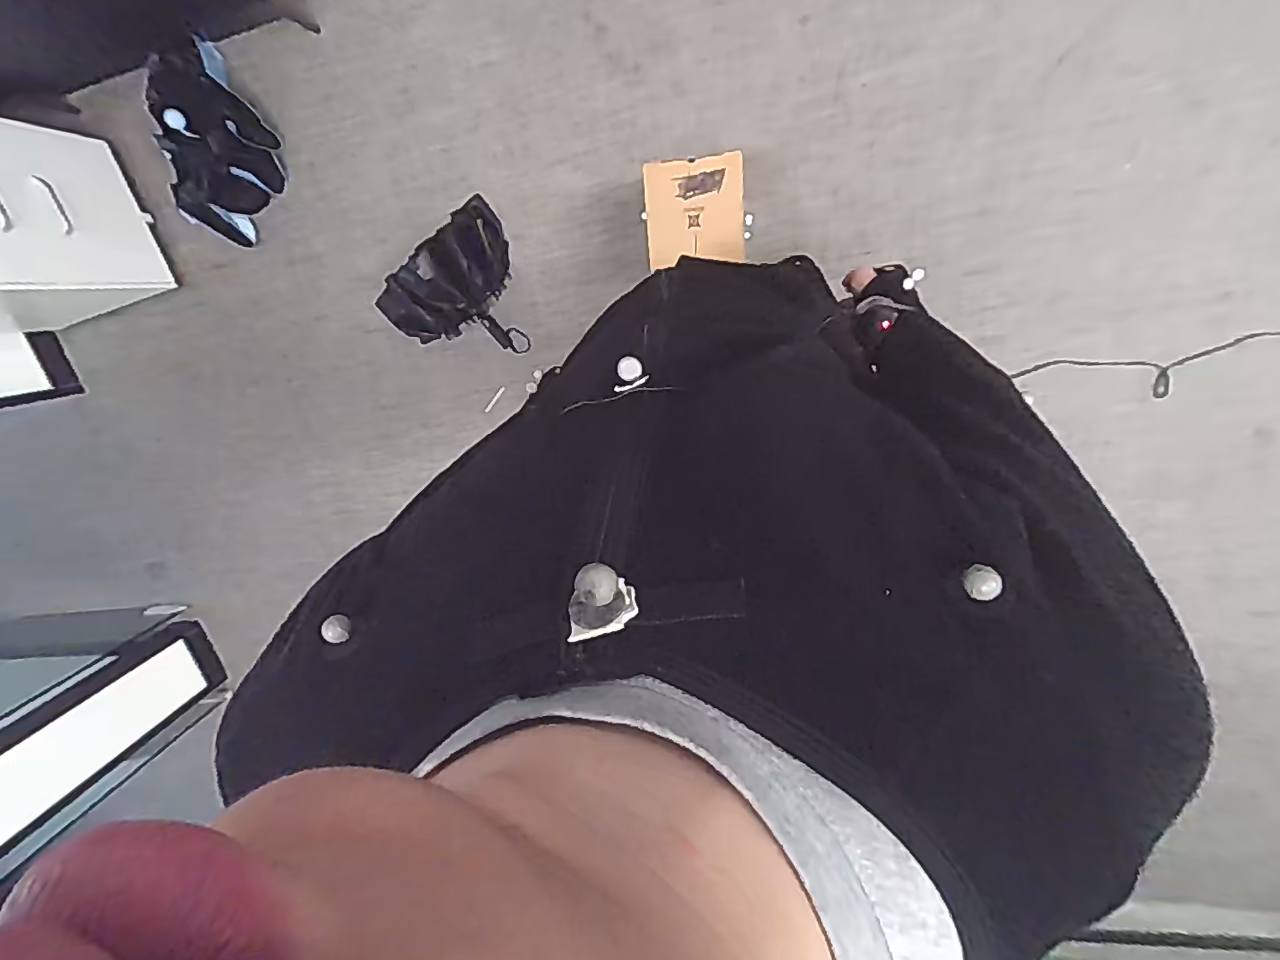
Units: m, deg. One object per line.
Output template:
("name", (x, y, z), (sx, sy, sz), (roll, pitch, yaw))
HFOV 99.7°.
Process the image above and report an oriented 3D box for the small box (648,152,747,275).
("small box", (0.110, -0.475, 0.990), (0.168, 0.176, 0.179), (-1, 110, 11))
